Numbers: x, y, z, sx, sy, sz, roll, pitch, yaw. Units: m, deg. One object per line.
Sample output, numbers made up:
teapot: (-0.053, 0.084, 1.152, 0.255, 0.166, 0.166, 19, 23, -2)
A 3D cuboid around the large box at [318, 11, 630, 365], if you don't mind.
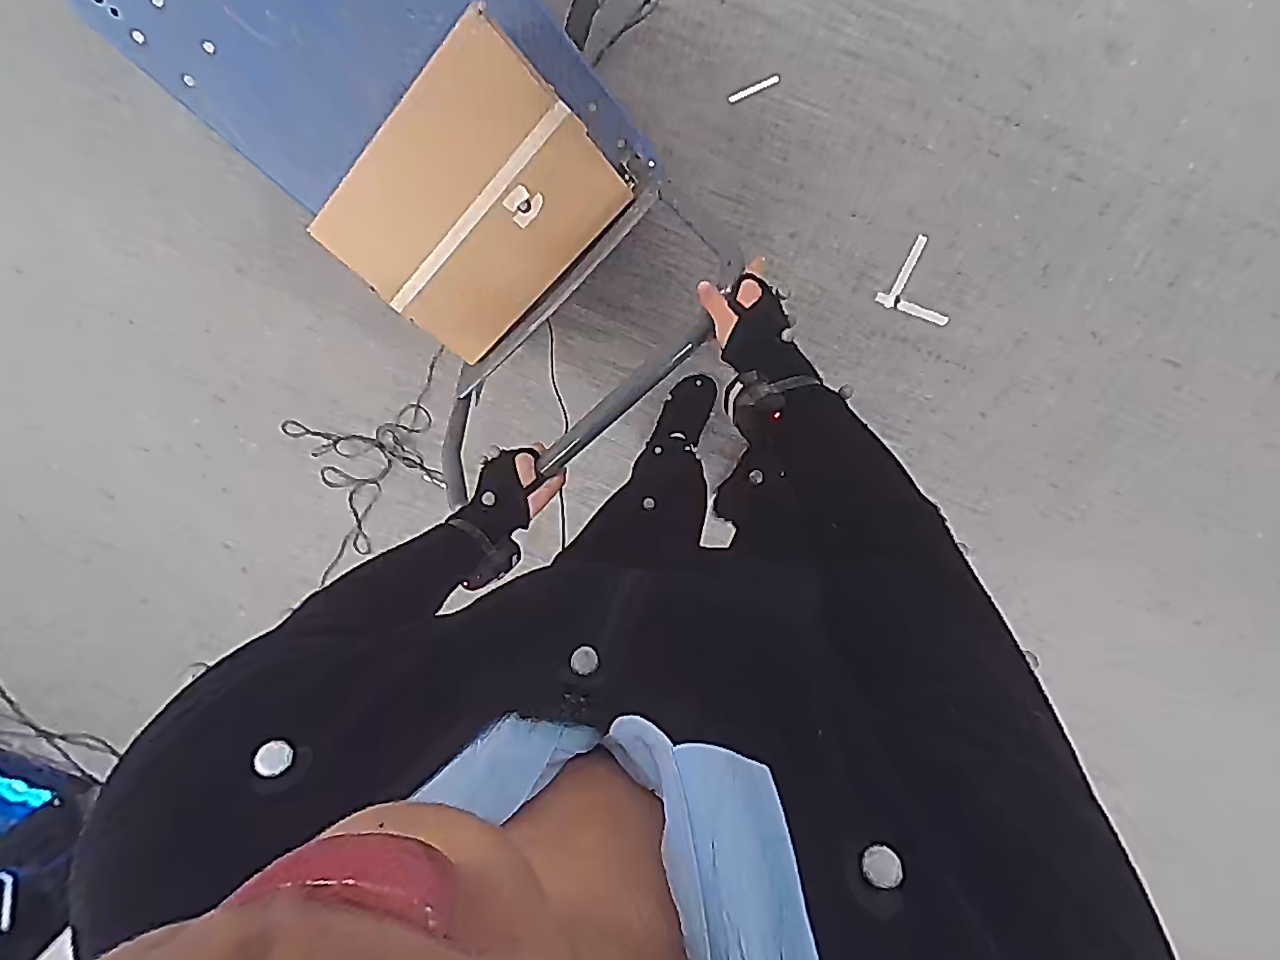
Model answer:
large box: (-0.276, -0.493, 0.968, 0.408, 0.320, 0.320, -41, 120, 17)
